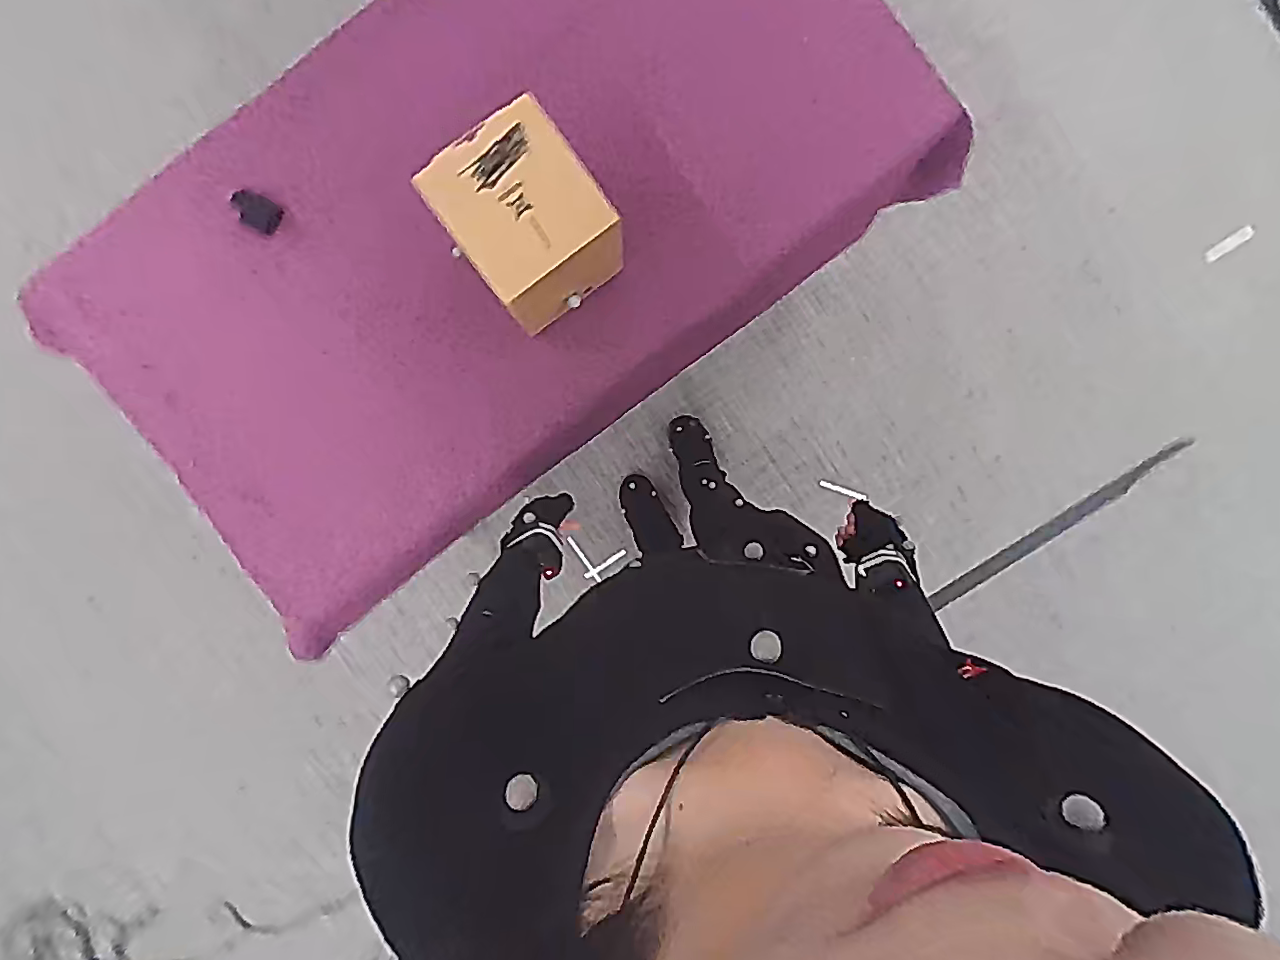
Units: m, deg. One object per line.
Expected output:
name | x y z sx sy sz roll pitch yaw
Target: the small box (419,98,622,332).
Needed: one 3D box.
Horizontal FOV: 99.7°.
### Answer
small box | -0.138 -0.318 0.691 0.168 0.176 0.179 -37 92 1
